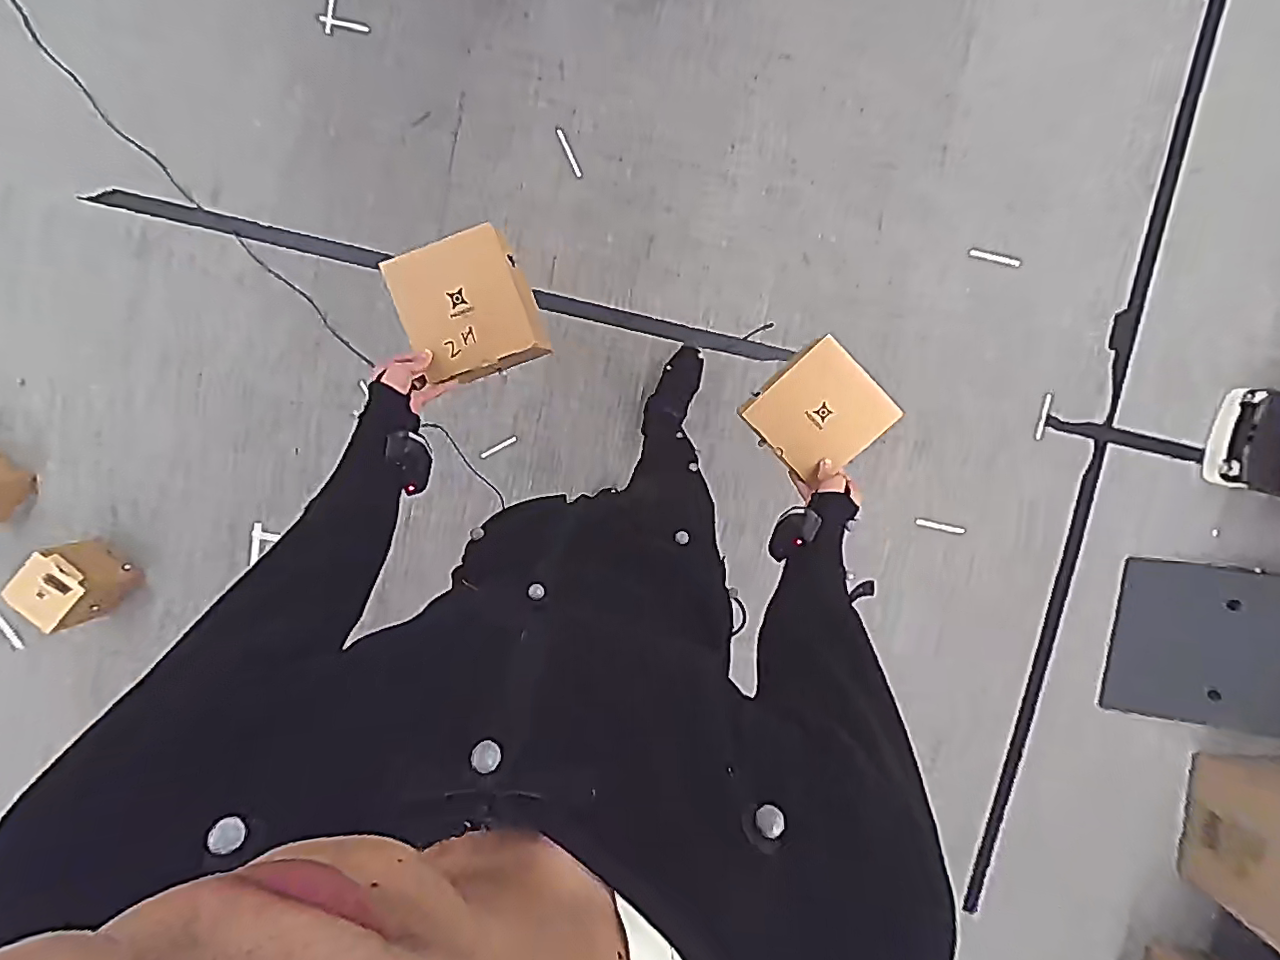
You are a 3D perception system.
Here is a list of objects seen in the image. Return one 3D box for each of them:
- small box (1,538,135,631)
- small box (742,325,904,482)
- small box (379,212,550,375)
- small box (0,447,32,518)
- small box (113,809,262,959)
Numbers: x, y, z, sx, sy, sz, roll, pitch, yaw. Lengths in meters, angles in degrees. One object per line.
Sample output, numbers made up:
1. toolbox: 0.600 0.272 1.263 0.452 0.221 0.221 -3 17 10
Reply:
1. small box: -1.602 0.287 1.531 0.168 0.176 0.179 43 93 -4
2. small box: 0.280 -0.124 0.880 0.179 0.176 0.168 -44 91 12
3. small box: -0.249 -0.264 0.811 0.168 0.176 0.179 -19 100 3
4. small box: -1.881 0.008 1.502 0.168 0.176 0.179 36 94 -4
5. small box: -0.967 0.866 1.170 0.168 0.176 0.179 21 98 -4
